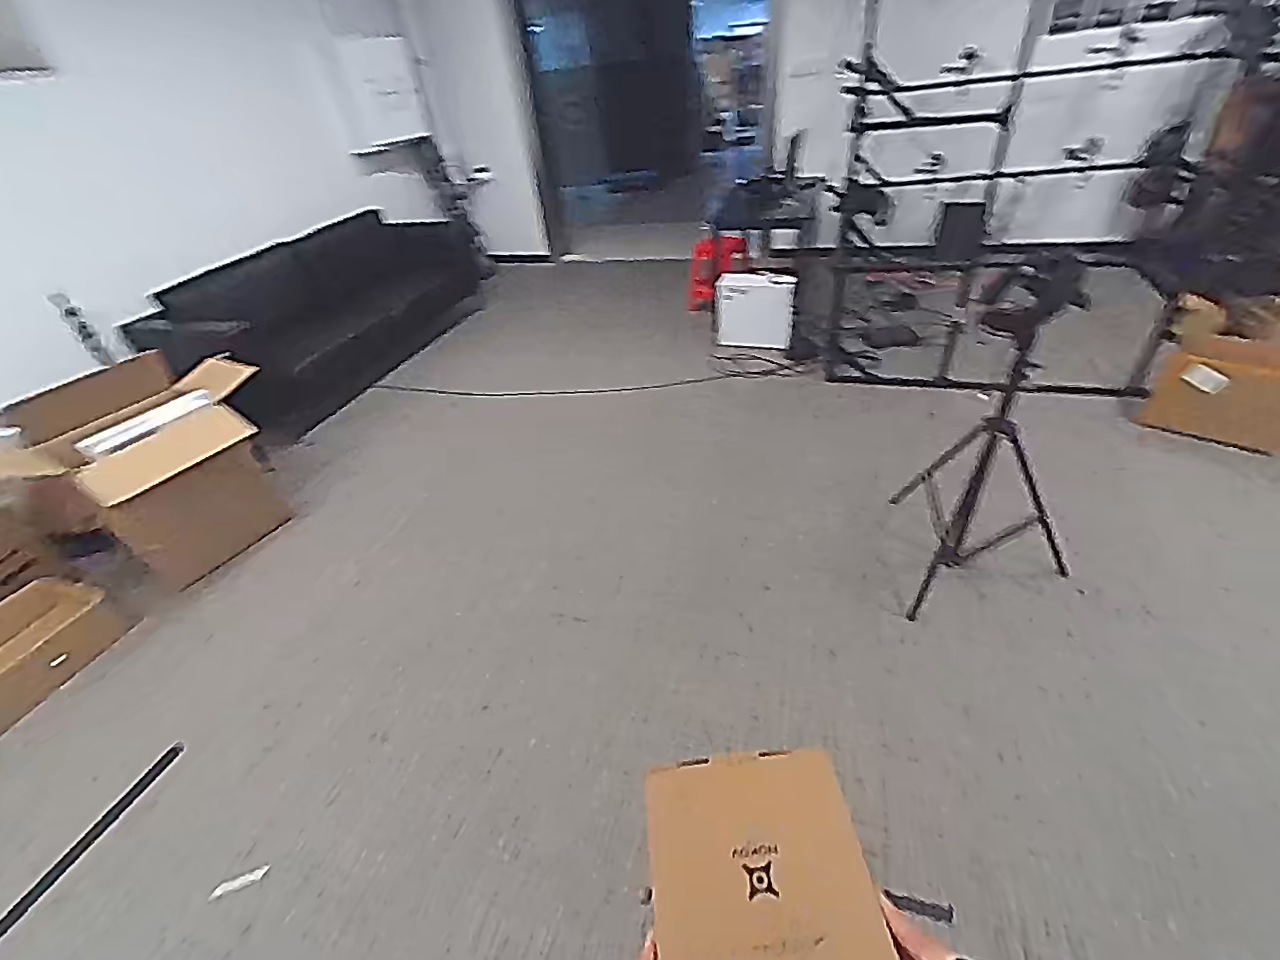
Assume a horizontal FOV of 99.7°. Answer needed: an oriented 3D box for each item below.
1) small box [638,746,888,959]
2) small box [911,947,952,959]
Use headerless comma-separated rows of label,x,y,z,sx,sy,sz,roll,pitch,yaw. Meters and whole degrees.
small box,0.089,0.362,0.466,0.168,0.176,0.179,-7,40,-2
small box,0.471,0.835,0.782,0.168,0.176,0.179,6,39,18
